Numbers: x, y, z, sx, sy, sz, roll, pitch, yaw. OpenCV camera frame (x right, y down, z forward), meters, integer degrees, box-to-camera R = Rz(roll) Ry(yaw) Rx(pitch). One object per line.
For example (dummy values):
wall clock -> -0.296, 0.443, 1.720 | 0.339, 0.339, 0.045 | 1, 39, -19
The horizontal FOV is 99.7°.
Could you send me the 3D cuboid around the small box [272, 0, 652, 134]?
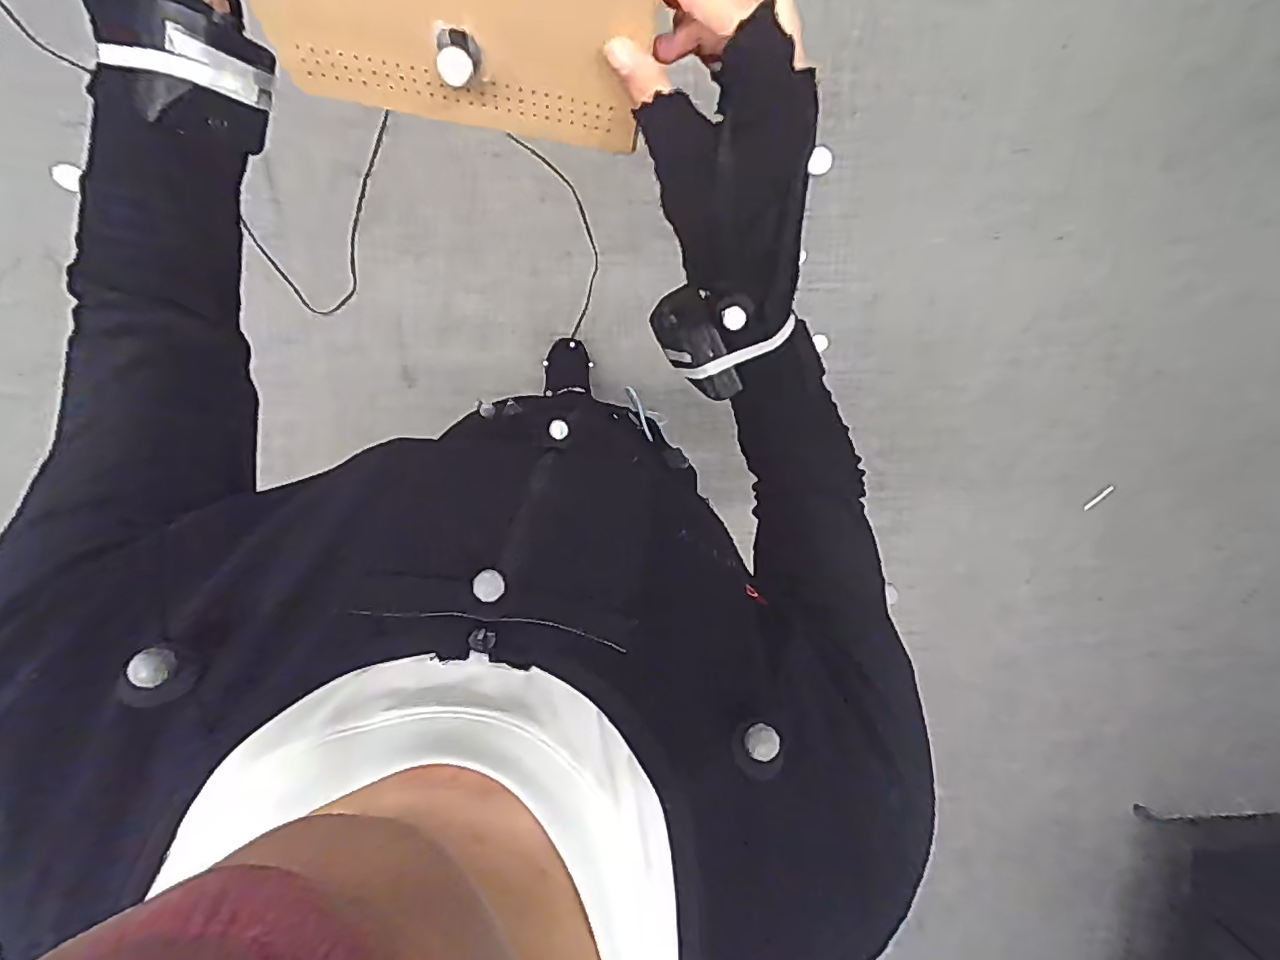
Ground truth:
small box -> -0.070, -0.292, 0.233 | 0.179, 0.176, 0.168 | 7, 76, -7
